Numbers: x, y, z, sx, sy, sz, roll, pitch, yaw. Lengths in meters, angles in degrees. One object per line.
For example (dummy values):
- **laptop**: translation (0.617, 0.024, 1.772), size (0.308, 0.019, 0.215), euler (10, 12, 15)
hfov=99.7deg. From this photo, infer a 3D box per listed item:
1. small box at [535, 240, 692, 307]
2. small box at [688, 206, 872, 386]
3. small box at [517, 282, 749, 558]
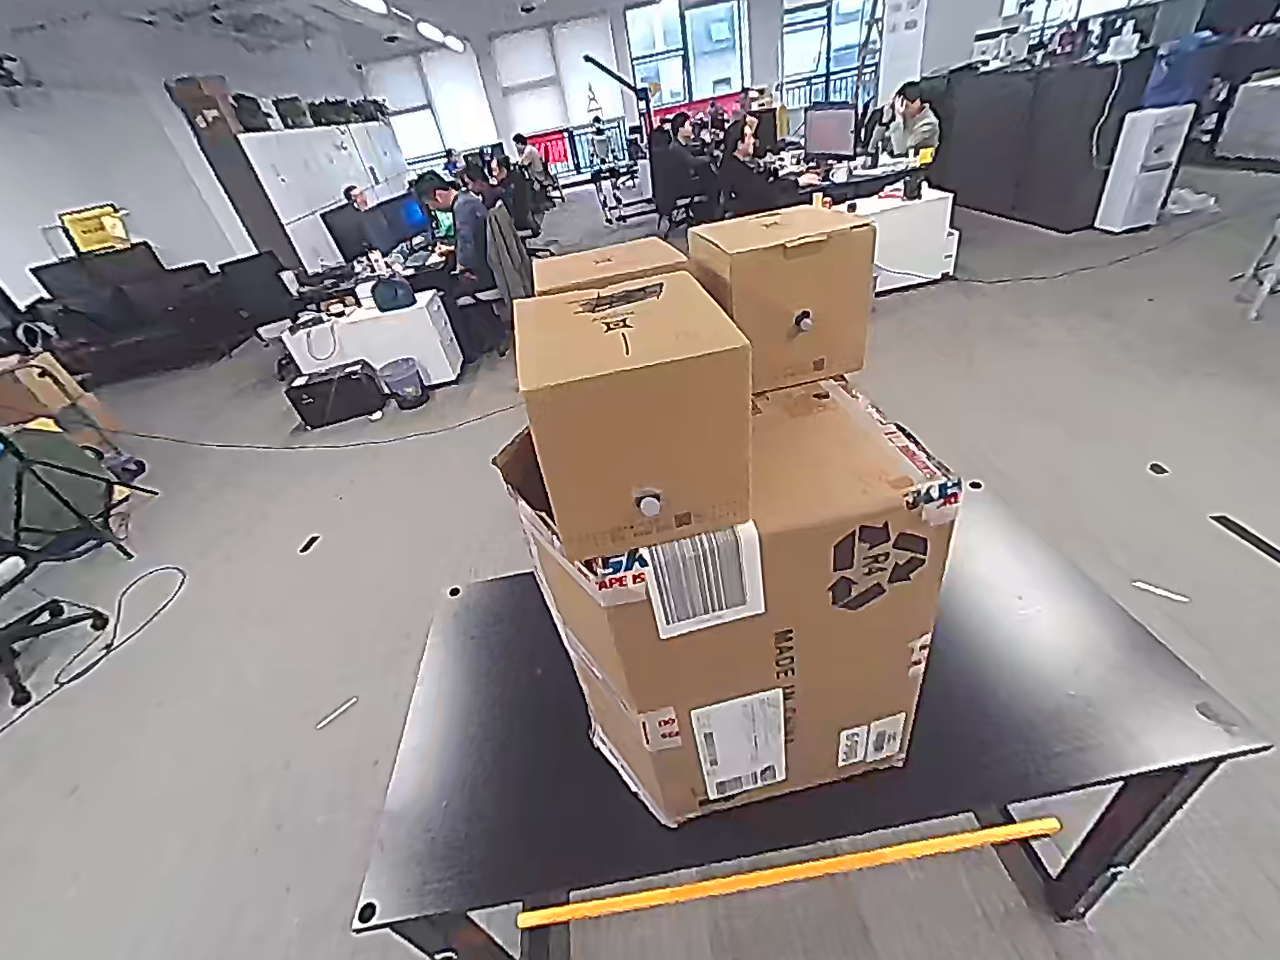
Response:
- **small box**: translation (-0.030, -0.185, 0.676), size (0.168, 0.176, 0.179), euler (-15, 34, -4)
- **small box**: translation (0.165, -0.227, 0.679), size (0.168, 0.176, 0.179), euler (-12, 35, -4)
- **small box**: translation (-0.009, -0.058, 0.486), size (0.168, 0.176, 0.179), euler (-13, 37, -4)
